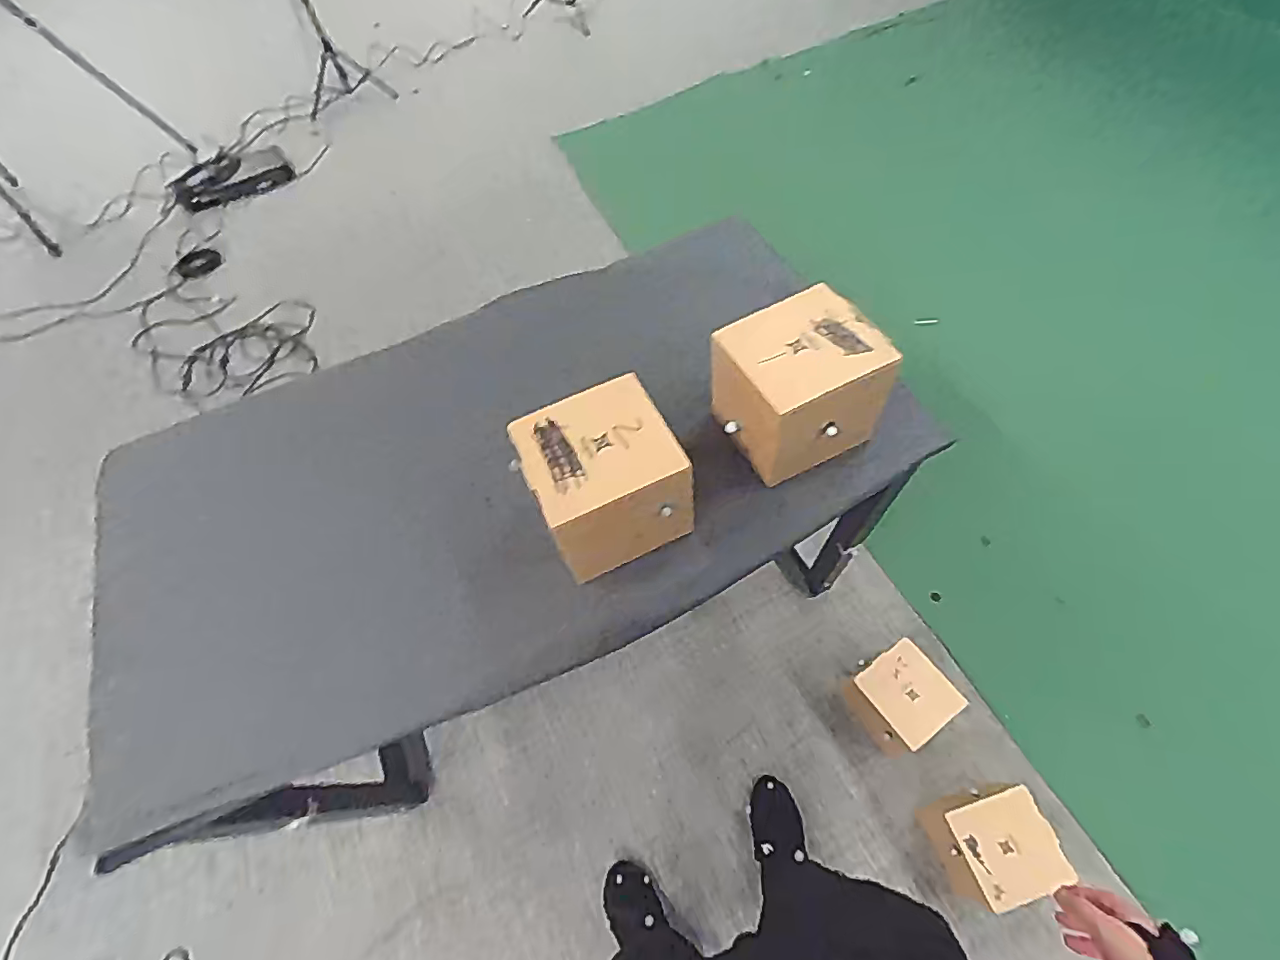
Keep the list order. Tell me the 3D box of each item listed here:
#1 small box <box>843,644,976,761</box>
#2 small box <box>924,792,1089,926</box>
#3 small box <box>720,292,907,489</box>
[{"bbox_3d":[0.590,0.499,1.208,0.168,0.176,0.179,-32,63,-12],"label":"small box"},{"bbox_3d":[0.706,0.733,1.067,0.179,0.176,0.168,-17,62,-4],"label":"small box"},{"bbox_3d":[0.222,-0.119,0.746,0.179,0.176,0.168,-25,58,-7],"label":"small box"}]
